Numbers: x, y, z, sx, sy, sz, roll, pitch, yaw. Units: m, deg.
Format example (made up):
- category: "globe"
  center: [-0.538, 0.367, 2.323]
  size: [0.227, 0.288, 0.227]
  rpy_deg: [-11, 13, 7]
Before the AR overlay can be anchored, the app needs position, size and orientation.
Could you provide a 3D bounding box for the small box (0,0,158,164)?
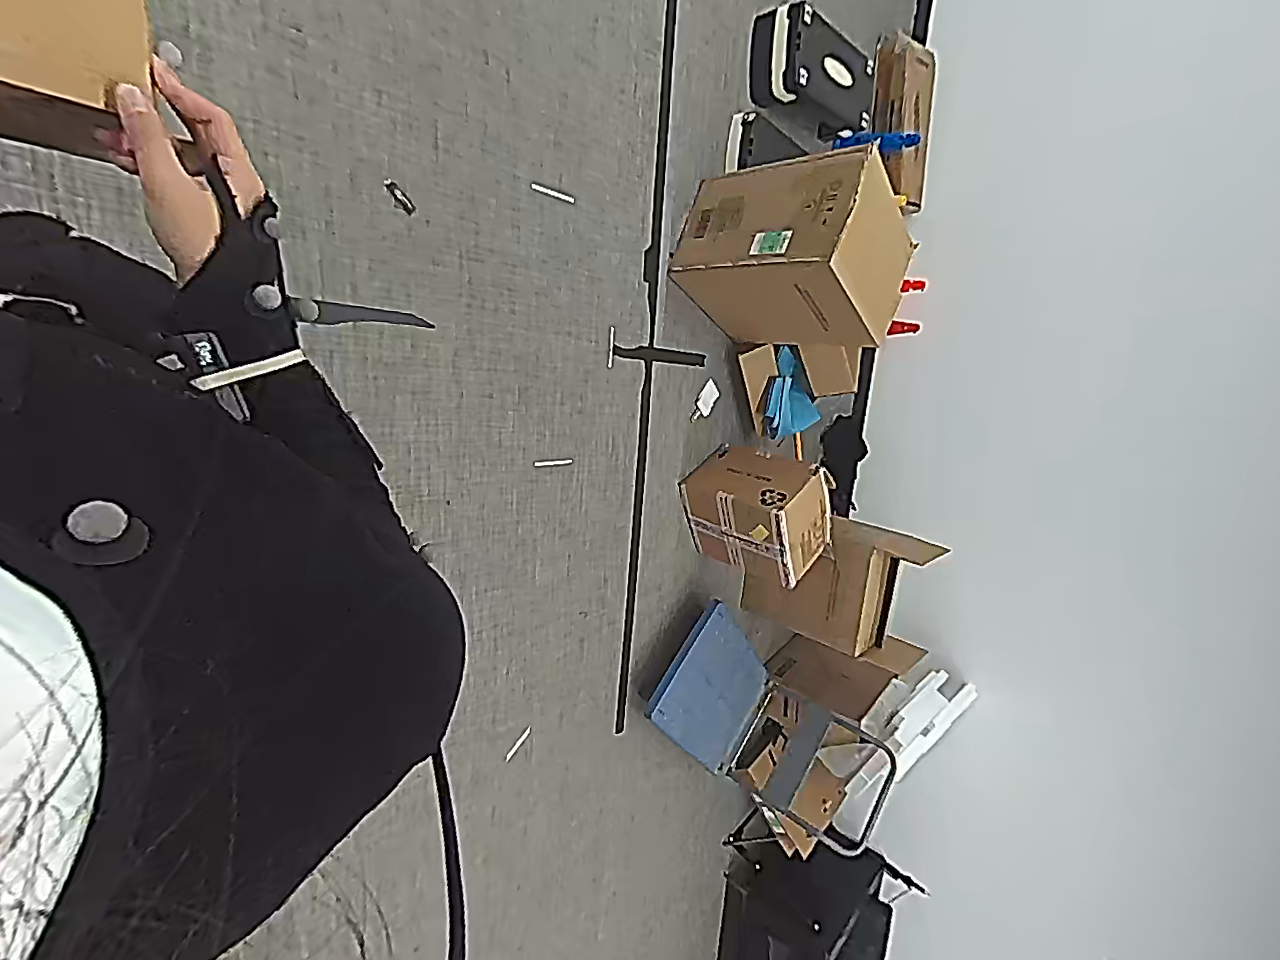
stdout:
- category: "small box"
  center: [-0.395, -0.303, 0.306]
  size: [0.179, 0.176, 0.168]
  rpy_deg: [-5, 107, -42]
